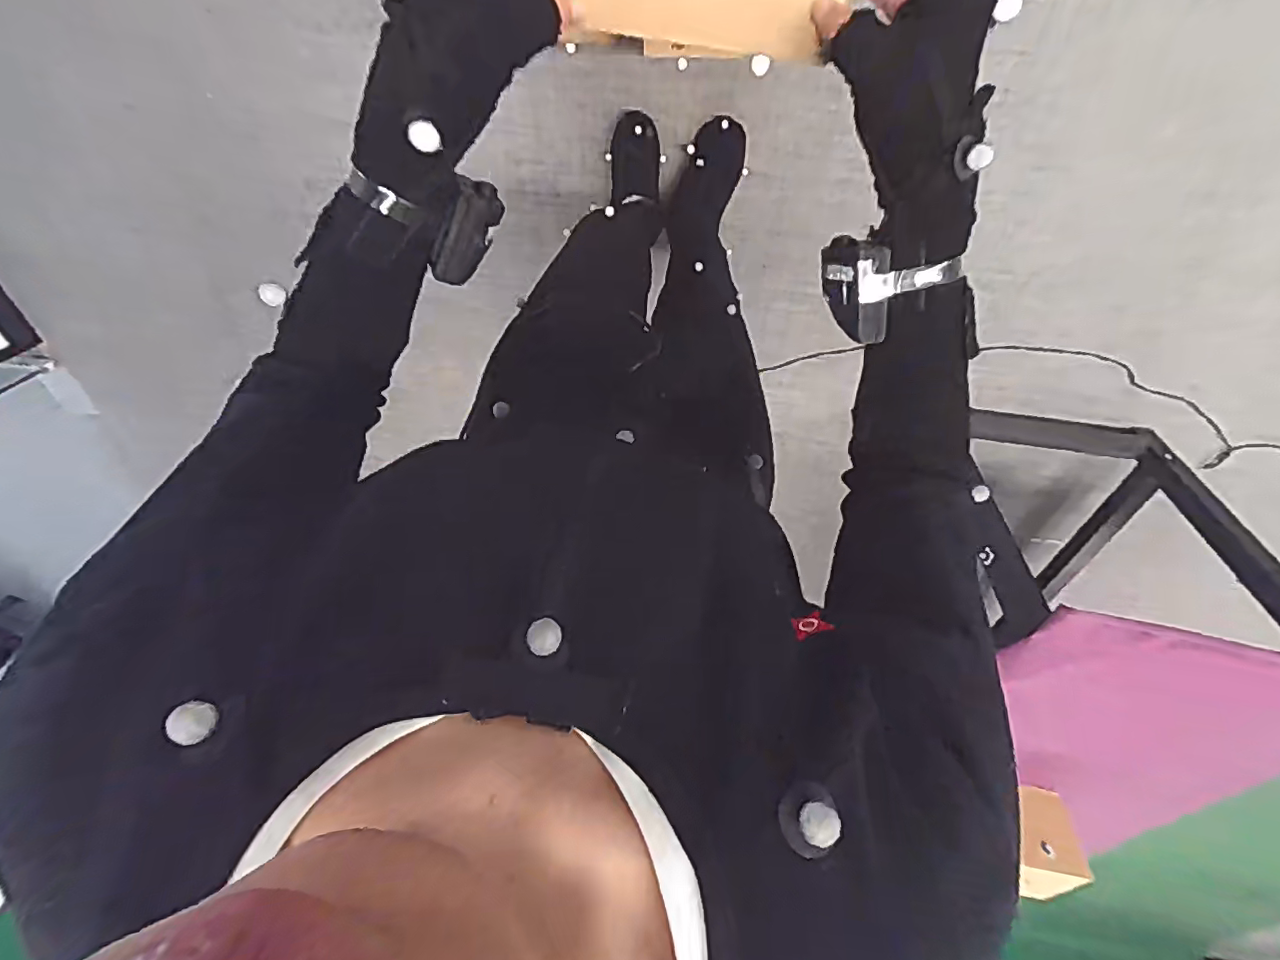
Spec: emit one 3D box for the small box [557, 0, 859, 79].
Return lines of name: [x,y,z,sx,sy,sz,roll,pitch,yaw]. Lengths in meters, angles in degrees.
small box: [0.052,-0.372,0.324,0.179,0.176,0.168,8,140,0]

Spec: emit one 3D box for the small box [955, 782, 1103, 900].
small box: [0.832,0.784,1.180,0.179,0.176,0.168,11,131,1]

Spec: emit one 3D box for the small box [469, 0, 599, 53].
small box: [-0.144,-0.736,0.780,0.168,0.176,0.179,6,131,5]
